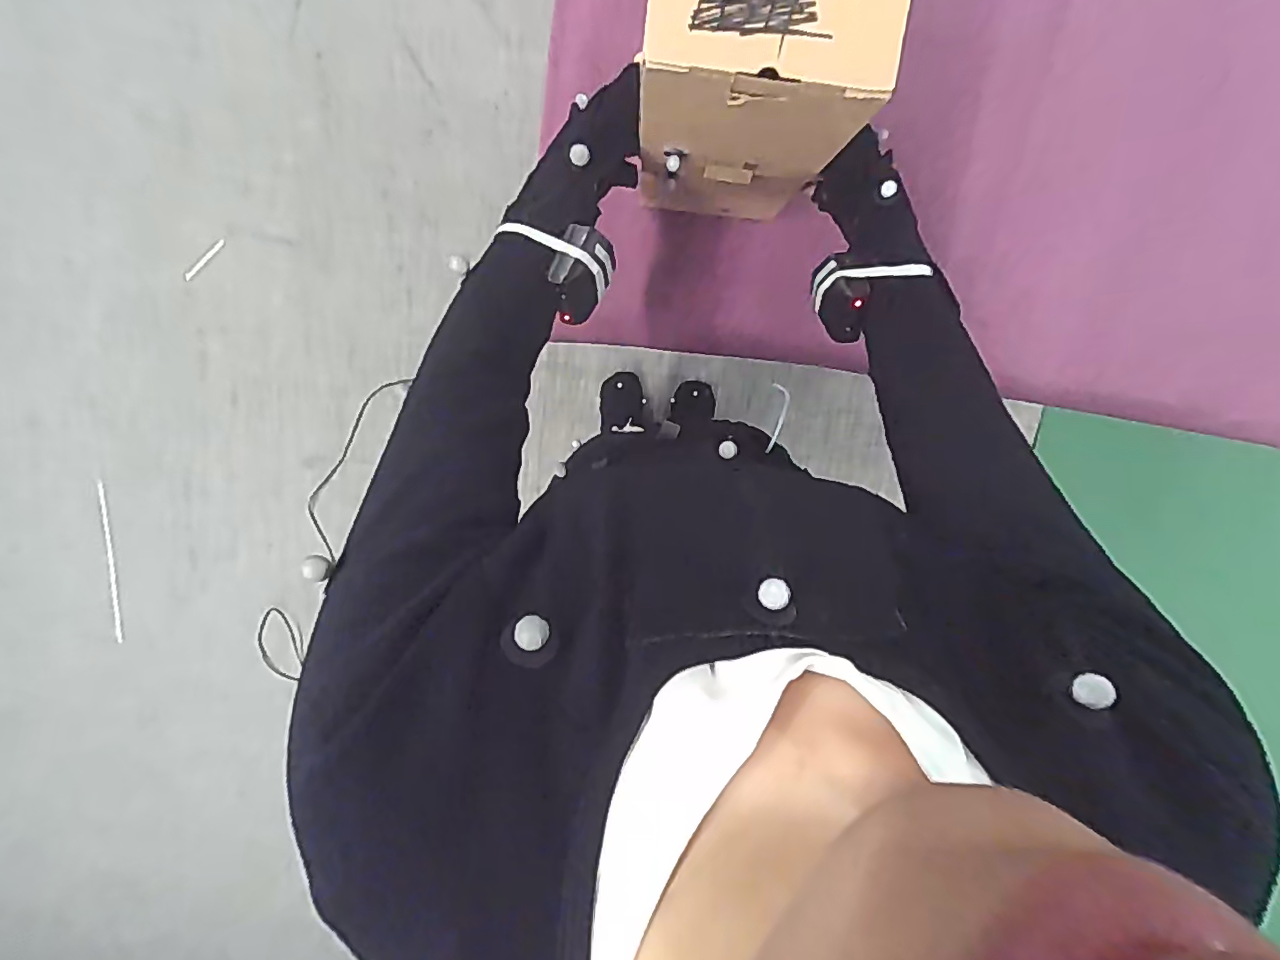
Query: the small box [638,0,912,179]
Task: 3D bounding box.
[{"bbox_3d":[0.092,-0.353,0.404,0.168,0.176,0.179,9,102,-5],"label":"small box"}]
